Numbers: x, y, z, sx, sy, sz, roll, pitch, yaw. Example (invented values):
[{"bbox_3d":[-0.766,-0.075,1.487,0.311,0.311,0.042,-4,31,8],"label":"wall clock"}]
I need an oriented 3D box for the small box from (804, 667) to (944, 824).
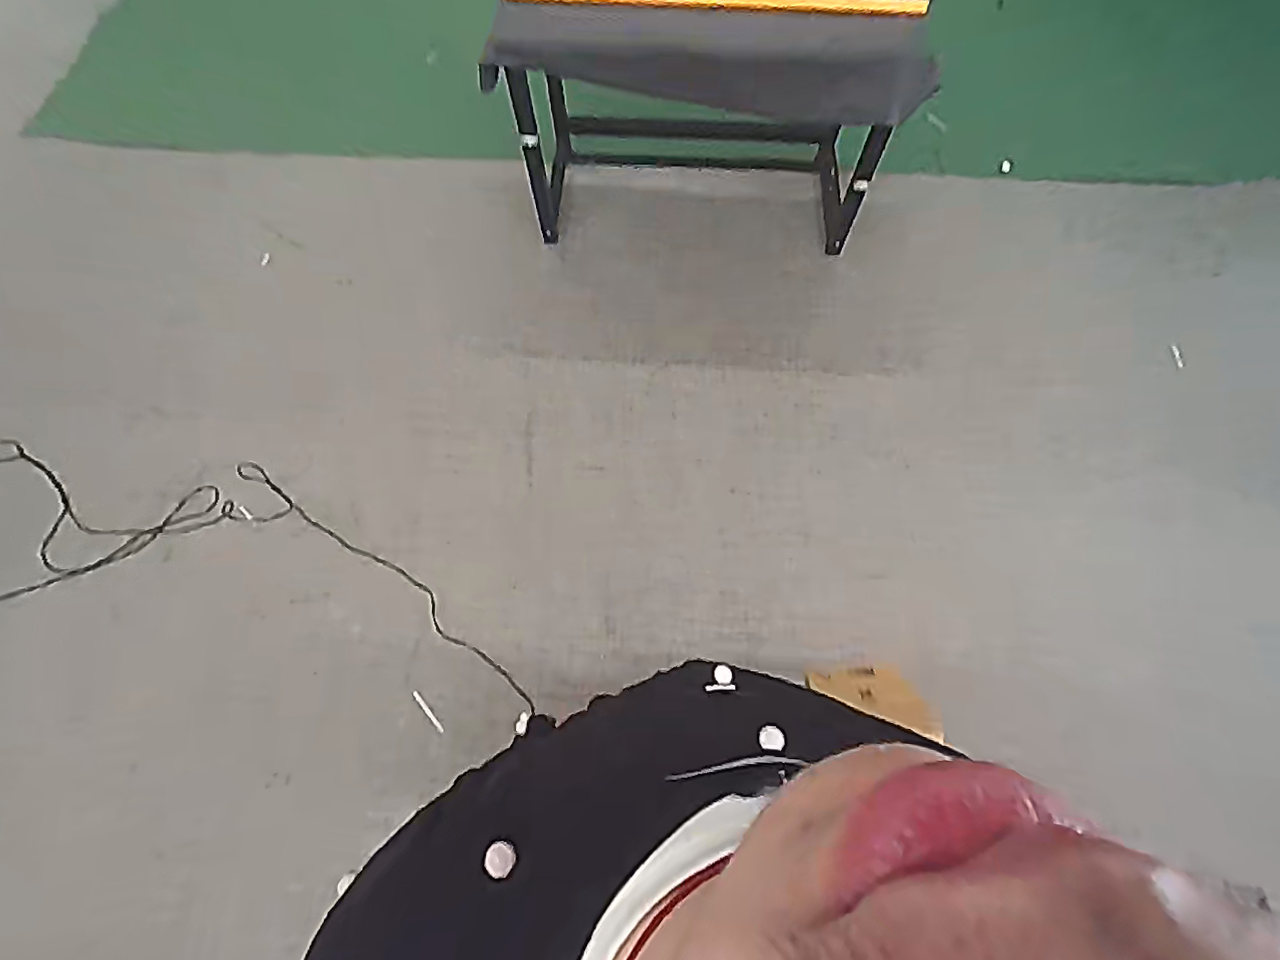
[{"bbox_3d":[0.389,0.446,0.910,0.168,0.179,0.176,-9,102,3],"label":"small box"}]
